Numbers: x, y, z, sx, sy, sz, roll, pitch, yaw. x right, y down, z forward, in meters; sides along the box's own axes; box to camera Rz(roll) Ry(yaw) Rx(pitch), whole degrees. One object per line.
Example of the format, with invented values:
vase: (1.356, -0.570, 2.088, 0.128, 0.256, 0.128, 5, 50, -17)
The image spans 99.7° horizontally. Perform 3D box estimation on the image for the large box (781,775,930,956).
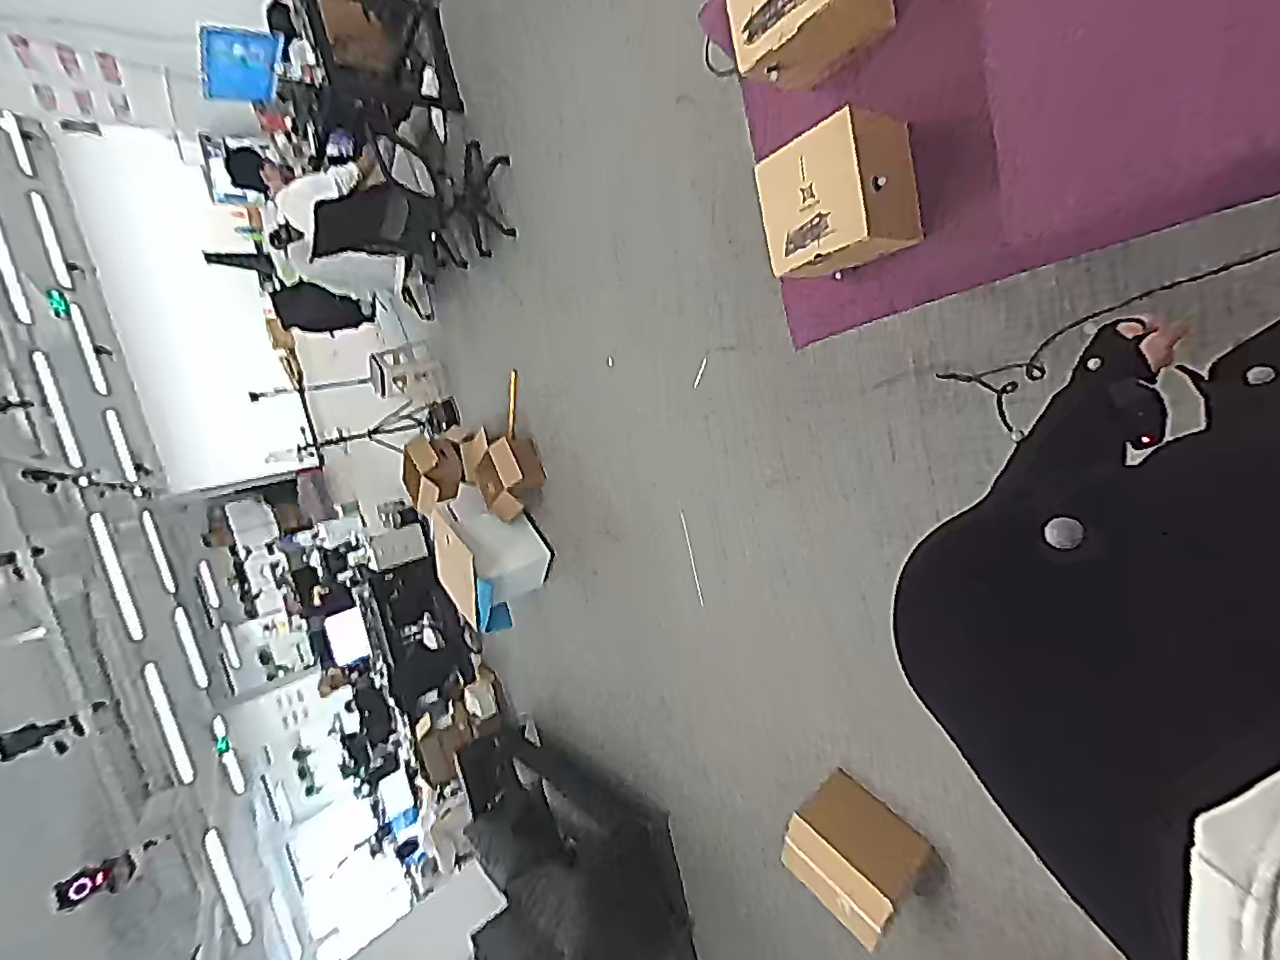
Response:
large box: (0.811, 1.444, 2.067, 0.408, 0.320, 0.320, 28, 125, 42)

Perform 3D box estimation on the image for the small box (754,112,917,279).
small box: (0.307, -0.427, 0.841, 0.168, 0.176, 0.179, -4, 100, 52)
